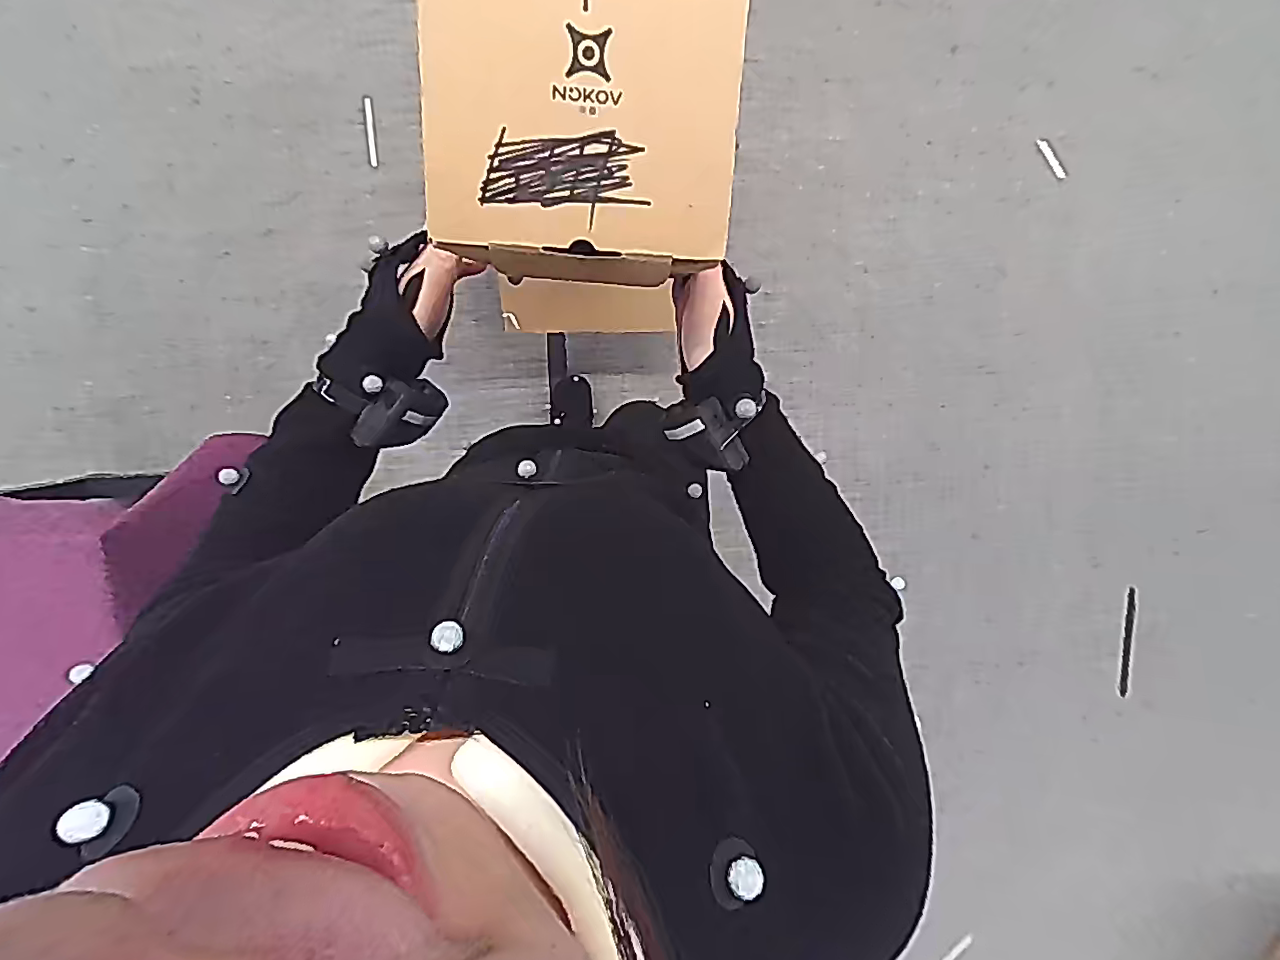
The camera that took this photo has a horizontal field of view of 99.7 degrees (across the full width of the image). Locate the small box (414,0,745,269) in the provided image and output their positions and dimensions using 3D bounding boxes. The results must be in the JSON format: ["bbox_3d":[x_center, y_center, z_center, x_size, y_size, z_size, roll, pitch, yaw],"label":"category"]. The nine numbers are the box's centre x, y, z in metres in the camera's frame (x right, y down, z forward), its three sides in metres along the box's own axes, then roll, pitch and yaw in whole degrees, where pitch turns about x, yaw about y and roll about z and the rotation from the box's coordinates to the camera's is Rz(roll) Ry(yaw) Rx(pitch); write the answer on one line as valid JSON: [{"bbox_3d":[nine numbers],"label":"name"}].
[{"bbox_3d":[-0.038,-0.237,0.352,0.168,0.176,0.179,1,108,-7],"label":"small box"}]
